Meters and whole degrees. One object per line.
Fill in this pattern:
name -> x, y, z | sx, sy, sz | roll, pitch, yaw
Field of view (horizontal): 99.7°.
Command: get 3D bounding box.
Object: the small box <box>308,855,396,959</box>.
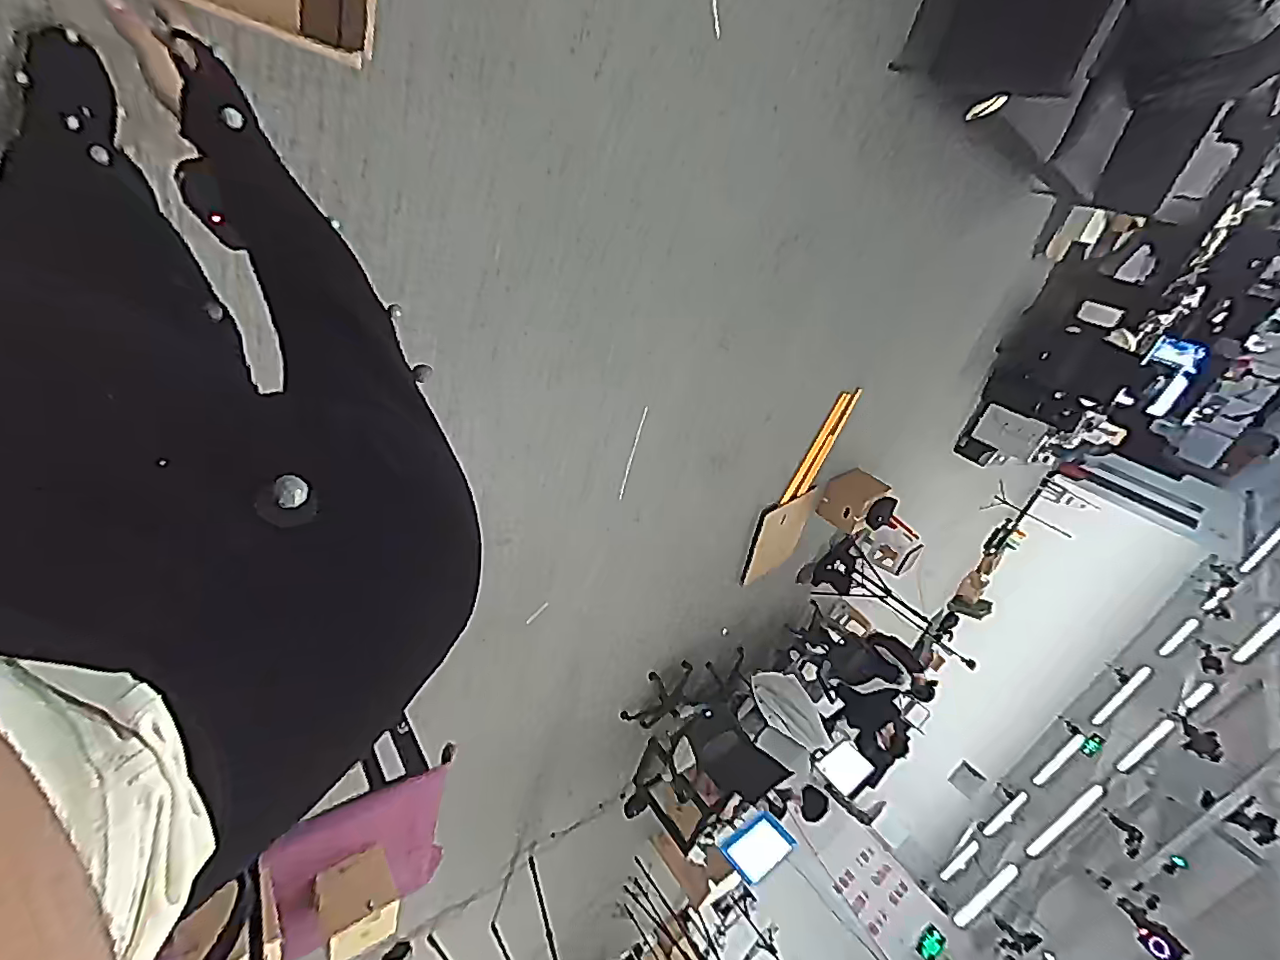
small box -> -0.775, 1.163, 1.449 | 0.168, 0.176, 0.179 | -9, 126, -43

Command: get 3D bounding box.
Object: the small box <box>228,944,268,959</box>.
small box -> -1.006, 1.305, 1.332 | 0.168, 0.176, 0.179 | -10, 127, -41
